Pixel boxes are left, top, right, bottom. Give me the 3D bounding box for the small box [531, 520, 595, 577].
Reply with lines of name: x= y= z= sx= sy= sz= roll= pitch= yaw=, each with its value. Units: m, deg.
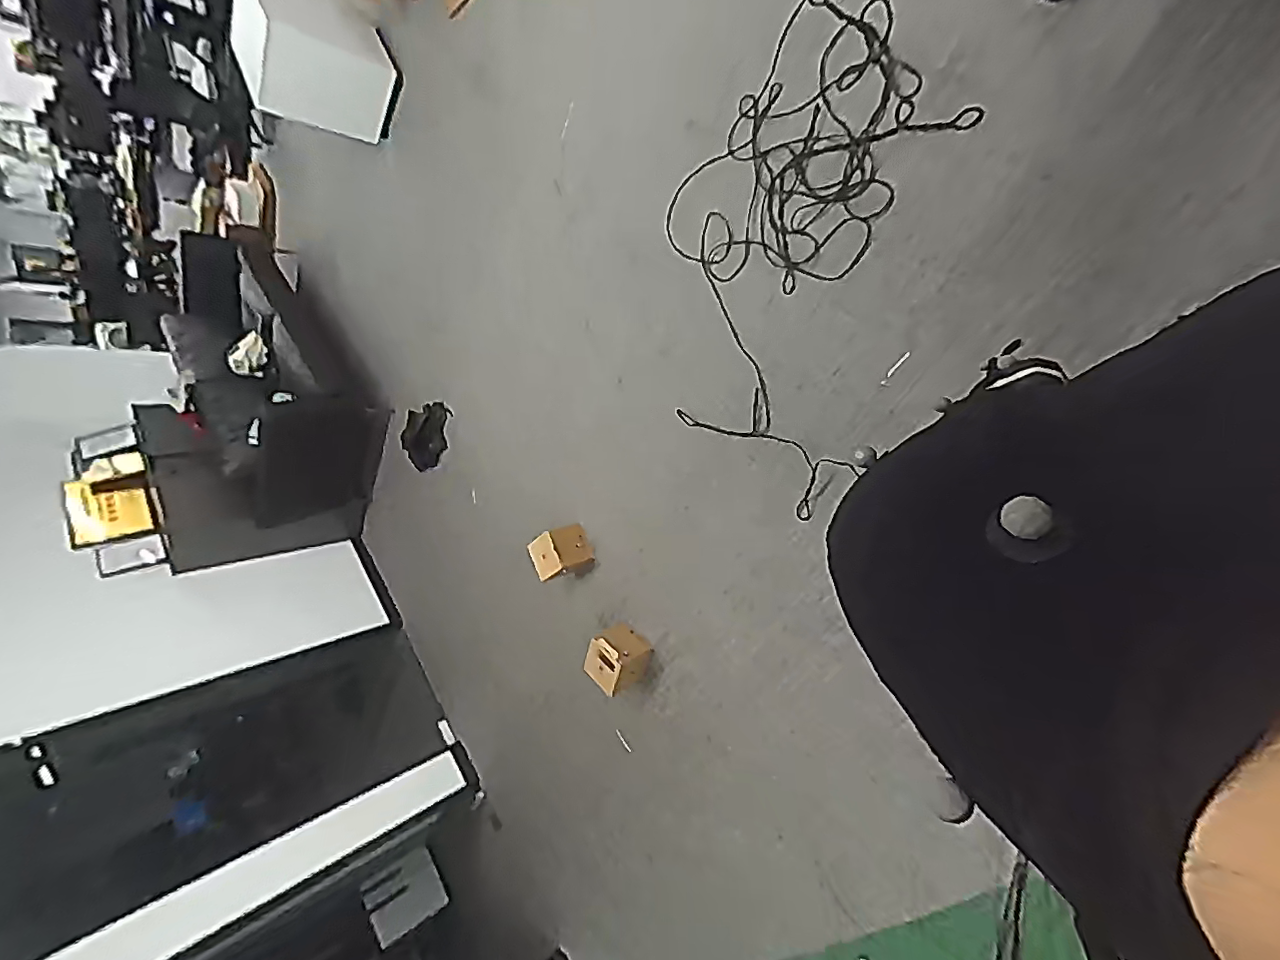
small box: x=-0.313 y=0.282 z=2.222 sx=0.179 sy=0.176 sz=0.168 roll=-38 pitch=71 yaw=42
